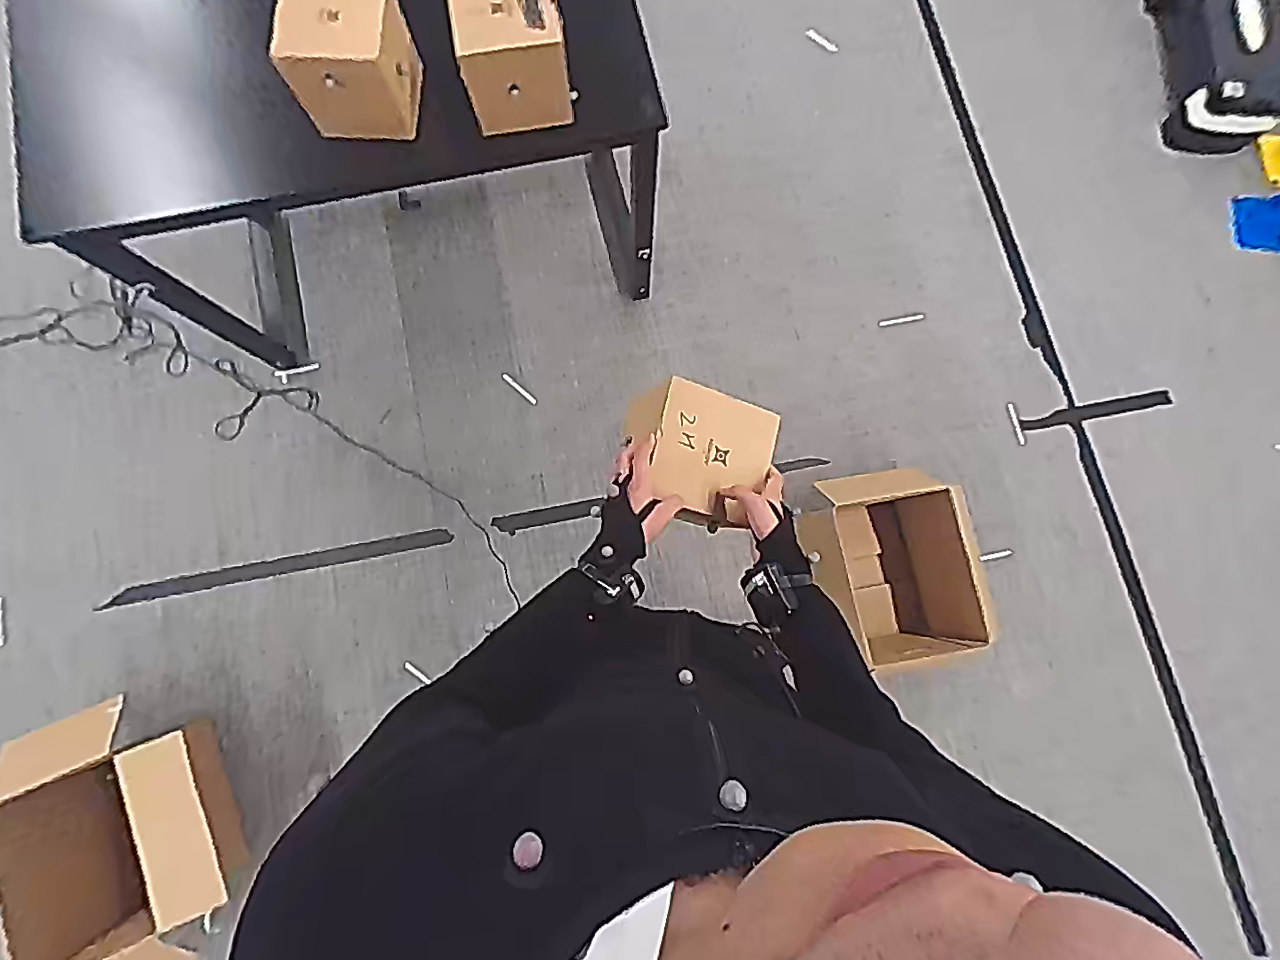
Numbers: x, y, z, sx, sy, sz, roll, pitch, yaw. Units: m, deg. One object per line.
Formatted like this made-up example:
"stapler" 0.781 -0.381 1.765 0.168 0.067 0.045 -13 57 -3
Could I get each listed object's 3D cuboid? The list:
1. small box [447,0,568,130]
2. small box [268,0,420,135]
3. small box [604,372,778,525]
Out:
"small box" -0.227 -0.764 0.959 0.179 0.176 0.168 -10 81 -1
"small box" -0.507 -0.743 0.952 0.179 0.176 0.168 1 81 0
"small box" 0.067 -0.037 0.786 0.179 0.176 0.168 16 82 -18
